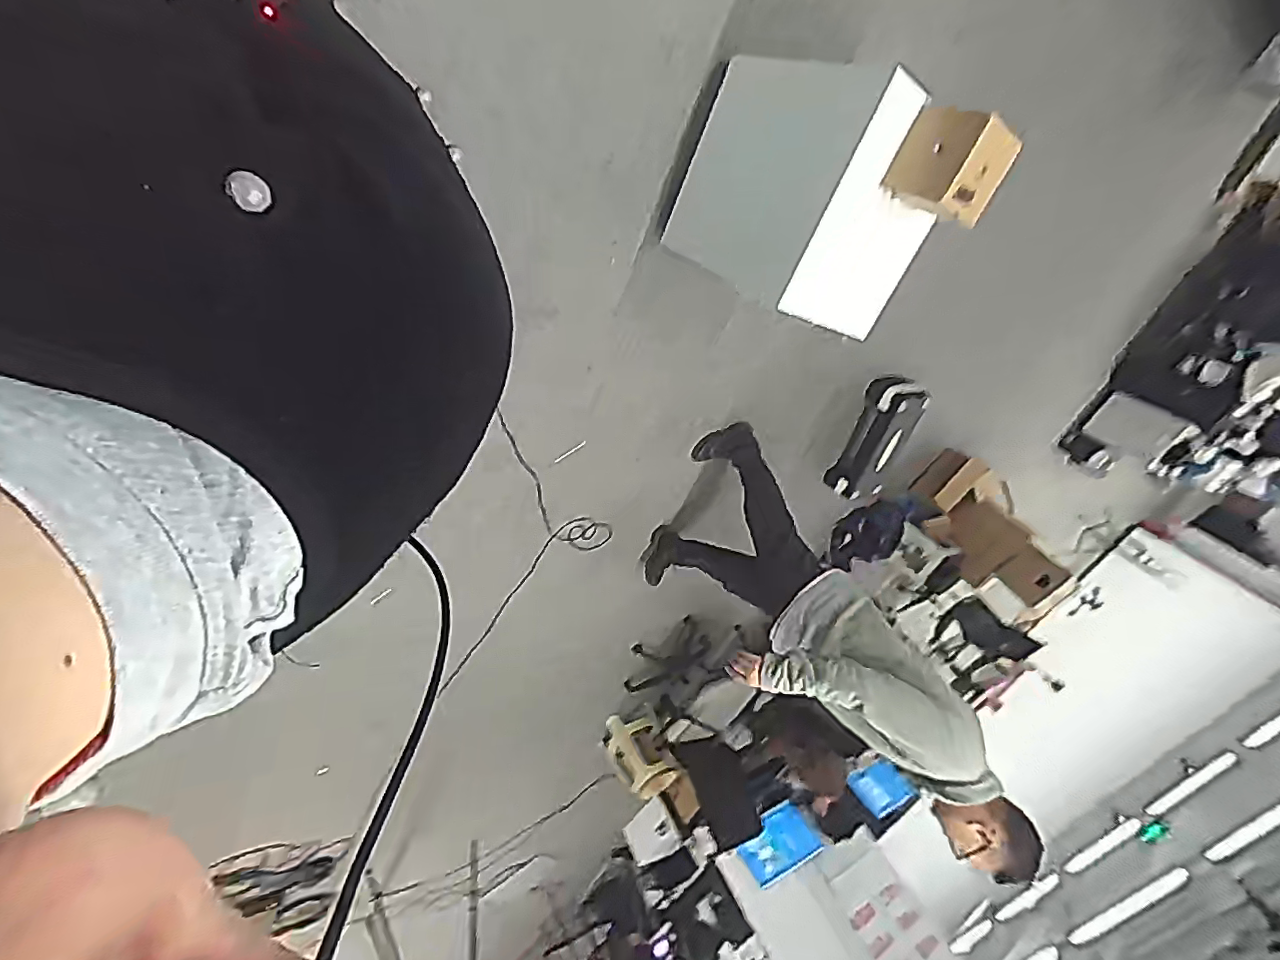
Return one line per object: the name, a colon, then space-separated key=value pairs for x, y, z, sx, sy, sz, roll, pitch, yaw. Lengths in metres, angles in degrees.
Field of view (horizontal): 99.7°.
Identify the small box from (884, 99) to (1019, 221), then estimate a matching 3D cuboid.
small box: x=0.674 y=-0.705 z=1.194 sx=0.168 sy=0.176 sz=0.179 roll=0 pitch=124 yaw=-38
